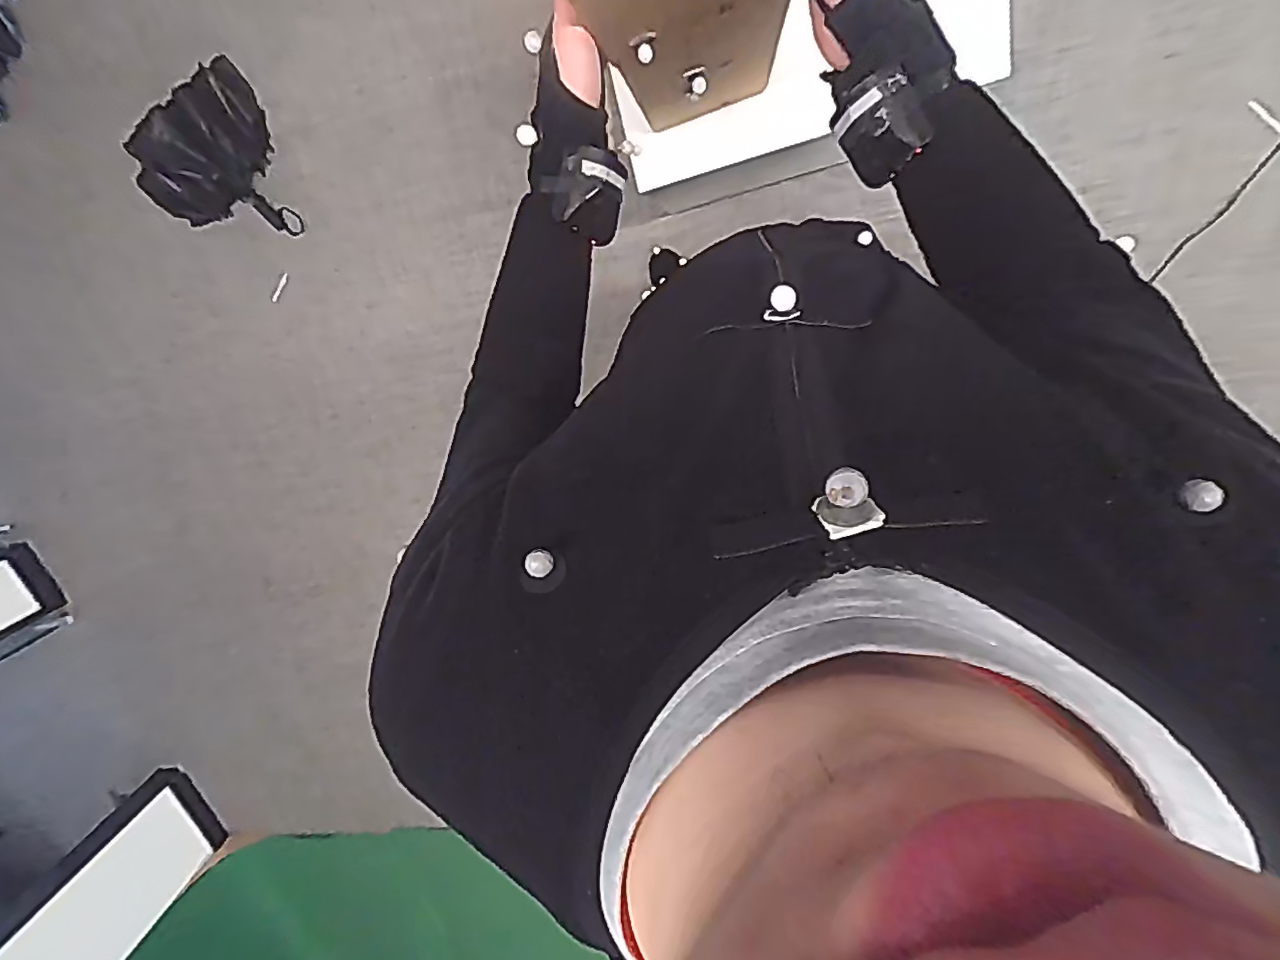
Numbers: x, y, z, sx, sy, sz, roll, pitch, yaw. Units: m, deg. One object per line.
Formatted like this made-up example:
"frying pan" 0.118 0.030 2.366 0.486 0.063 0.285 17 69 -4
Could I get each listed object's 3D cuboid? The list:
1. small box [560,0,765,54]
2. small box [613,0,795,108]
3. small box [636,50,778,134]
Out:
"small box" 0.013 -0.431 0.365 0.168 0.176 0.179 -13 108 16
"small box" 0.042 -0.499 0.517 0.168 0.176 0.179 -14 110 16
"small box" 0.065 -0.563 0.664 0.168 0.176 0.179 -13 109 14
